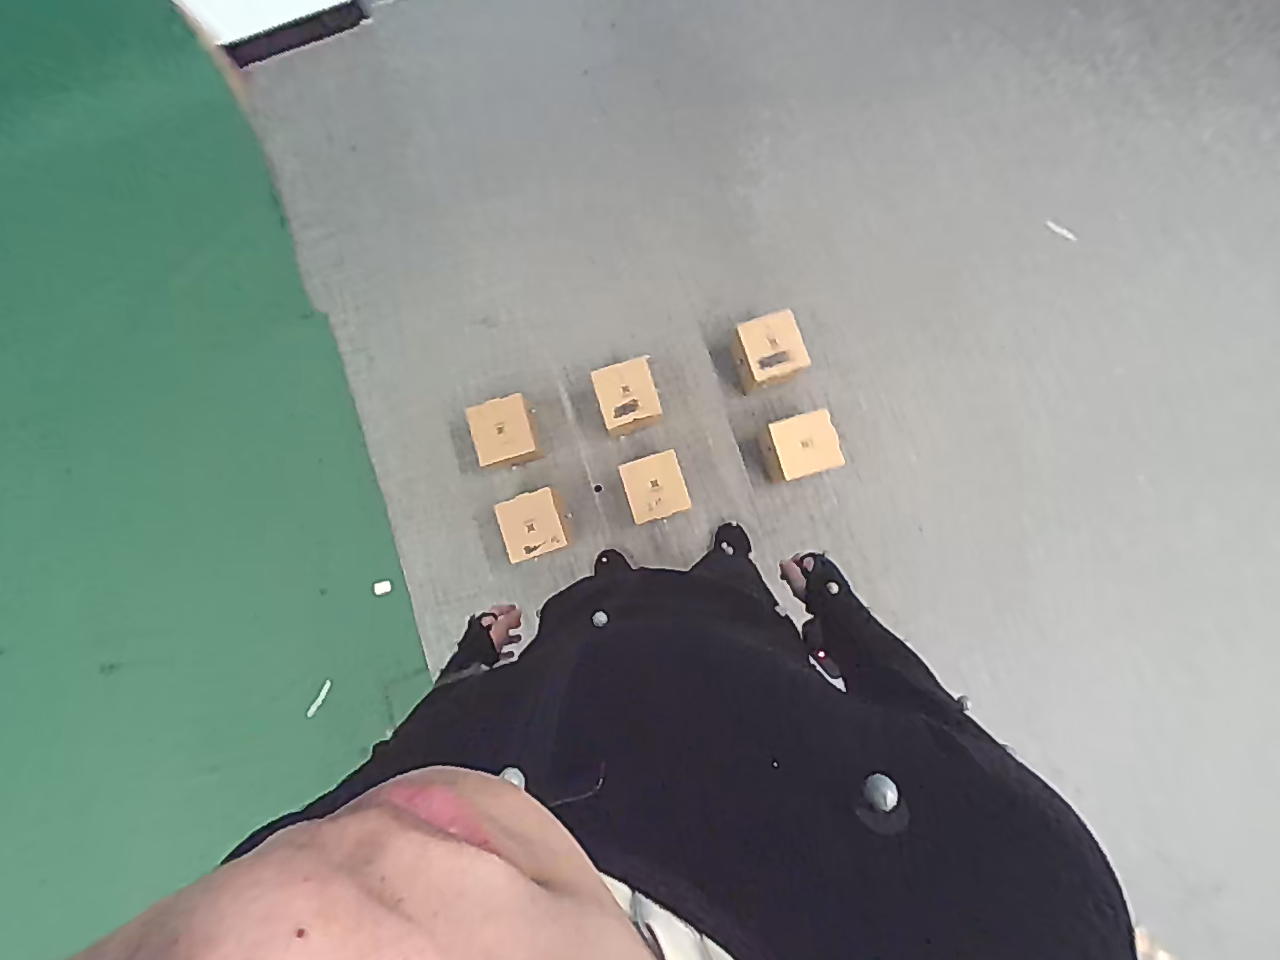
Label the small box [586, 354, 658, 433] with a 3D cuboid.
[{"bbox_3d":[-0.047,-0.245,1.587,0.168,0.176,0.179,-17,84,0],"label":"small box"}]

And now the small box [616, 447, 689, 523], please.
[{"bbox_3d":[0.033,0.020,1.560,0.168,0.176,0.179,-17,85,0],"label":"small box"}]

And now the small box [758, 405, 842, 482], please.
[{"bbox_3d":[0.452,-0.099,1.563,0.179,0.176,0.168,-17,85,-1],"label":"small box"}]

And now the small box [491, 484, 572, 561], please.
[{"bbox_3d":[-0.308,0.126,1.559,0.168,0.176,0.179,-18,83,0],"label":"small box"}]
